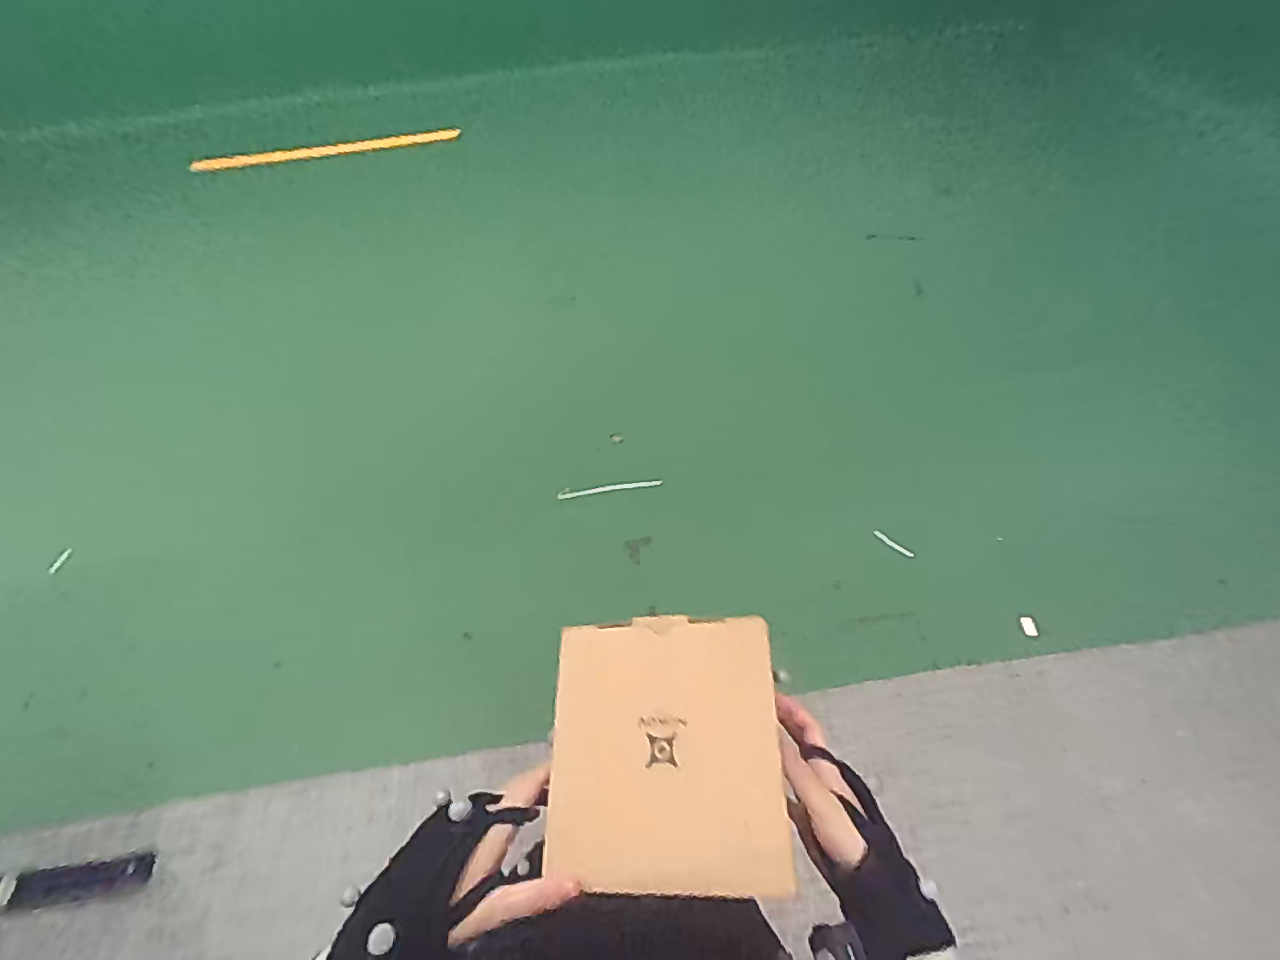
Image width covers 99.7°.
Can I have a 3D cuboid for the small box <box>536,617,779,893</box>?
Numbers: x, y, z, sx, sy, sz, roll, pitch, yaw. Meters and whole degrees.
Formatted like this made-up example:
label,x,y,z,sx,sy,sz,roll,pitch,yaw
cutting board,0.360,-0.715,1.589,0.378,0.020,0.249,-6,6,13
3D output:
label,x,y,z,sx,sy,sz,roll,pitch,yaw
small box,0.025,0.230,0.457,0.168,0.176,0.179,-6,57,9
